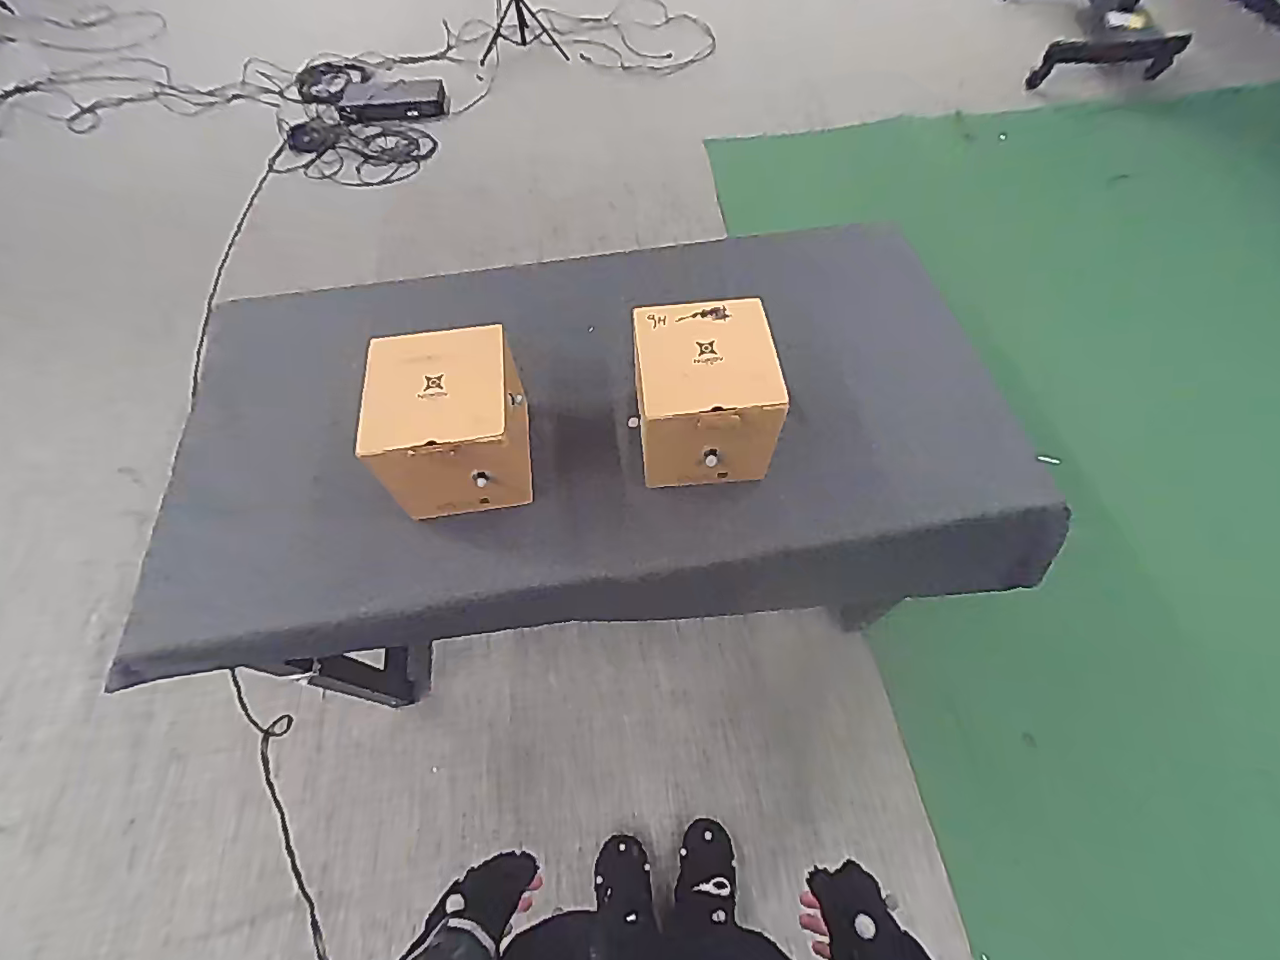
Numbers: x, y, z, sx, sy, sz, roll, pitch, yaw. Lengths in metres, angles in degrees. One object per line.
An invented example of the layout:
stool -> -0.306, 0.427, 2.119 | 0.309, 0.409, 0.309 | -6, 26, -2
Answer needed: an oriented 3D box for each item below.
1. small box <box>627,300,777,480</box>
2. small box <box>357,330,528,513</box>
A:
small box -> 0.074, -0.110, 0.725 | 0.168, 0.176, 0.179 | -5, 62, -1
small box -> -0.247, -0.068, 0.716 | 0.168, 0.176, 0.179 | -8, 60, -4
